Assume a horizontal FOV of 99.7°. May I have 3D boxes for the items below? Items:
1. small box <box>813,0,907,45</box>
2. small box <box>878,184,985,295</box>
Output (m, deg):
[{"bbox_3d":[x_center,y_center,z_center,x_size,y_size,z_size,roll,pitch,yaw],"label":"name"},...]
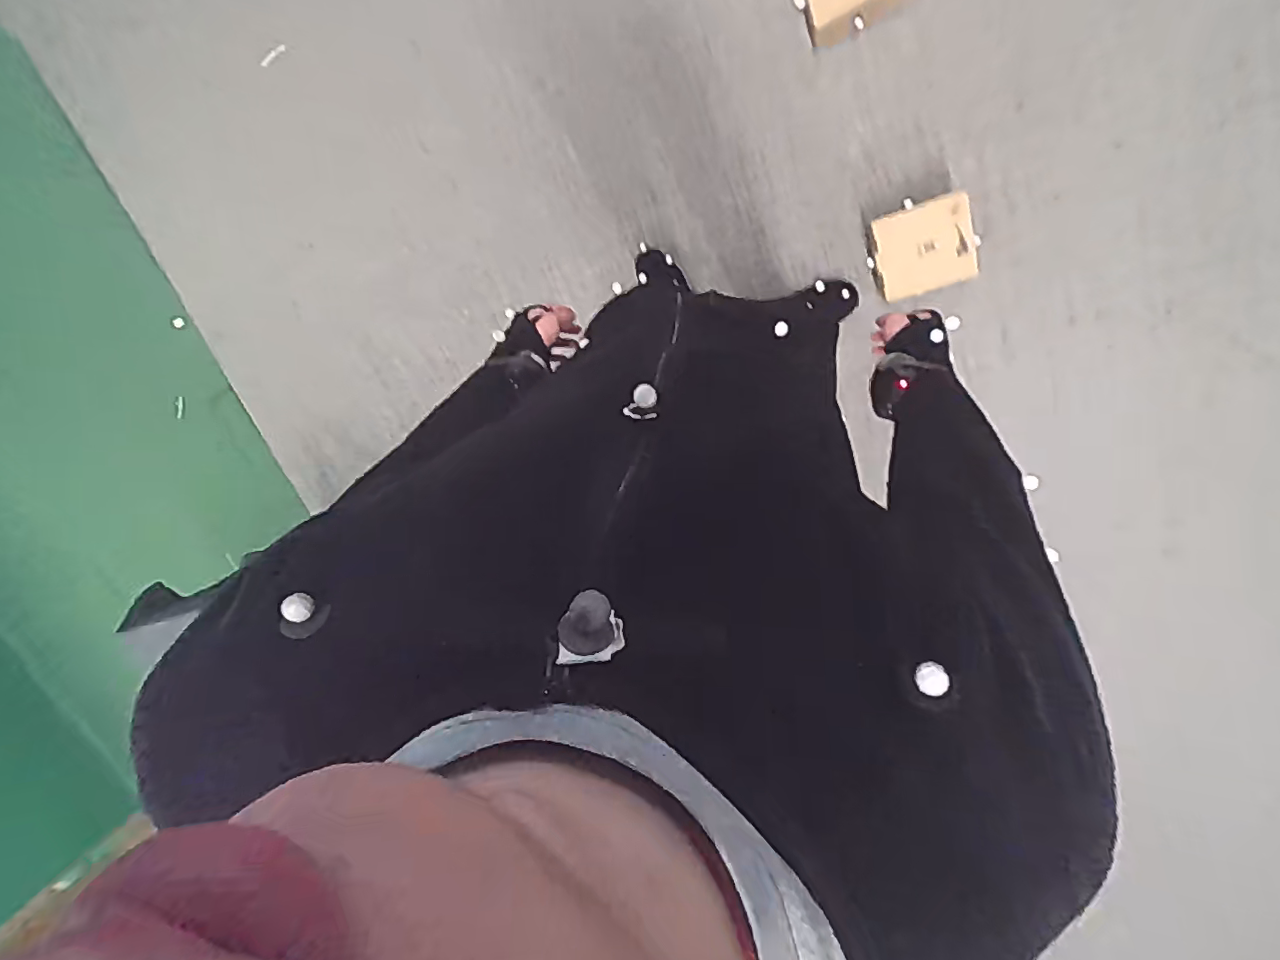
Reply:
[{"bbox_3d":[0.414,-0.971,1.016,0.179,0.176,0.168,-14,108,27],"label":"small box"},{"bbox_3d":[0.617,-0.511,1.162,0.179,0.176,0.168,-11,110,25],"label":"small box"}]
